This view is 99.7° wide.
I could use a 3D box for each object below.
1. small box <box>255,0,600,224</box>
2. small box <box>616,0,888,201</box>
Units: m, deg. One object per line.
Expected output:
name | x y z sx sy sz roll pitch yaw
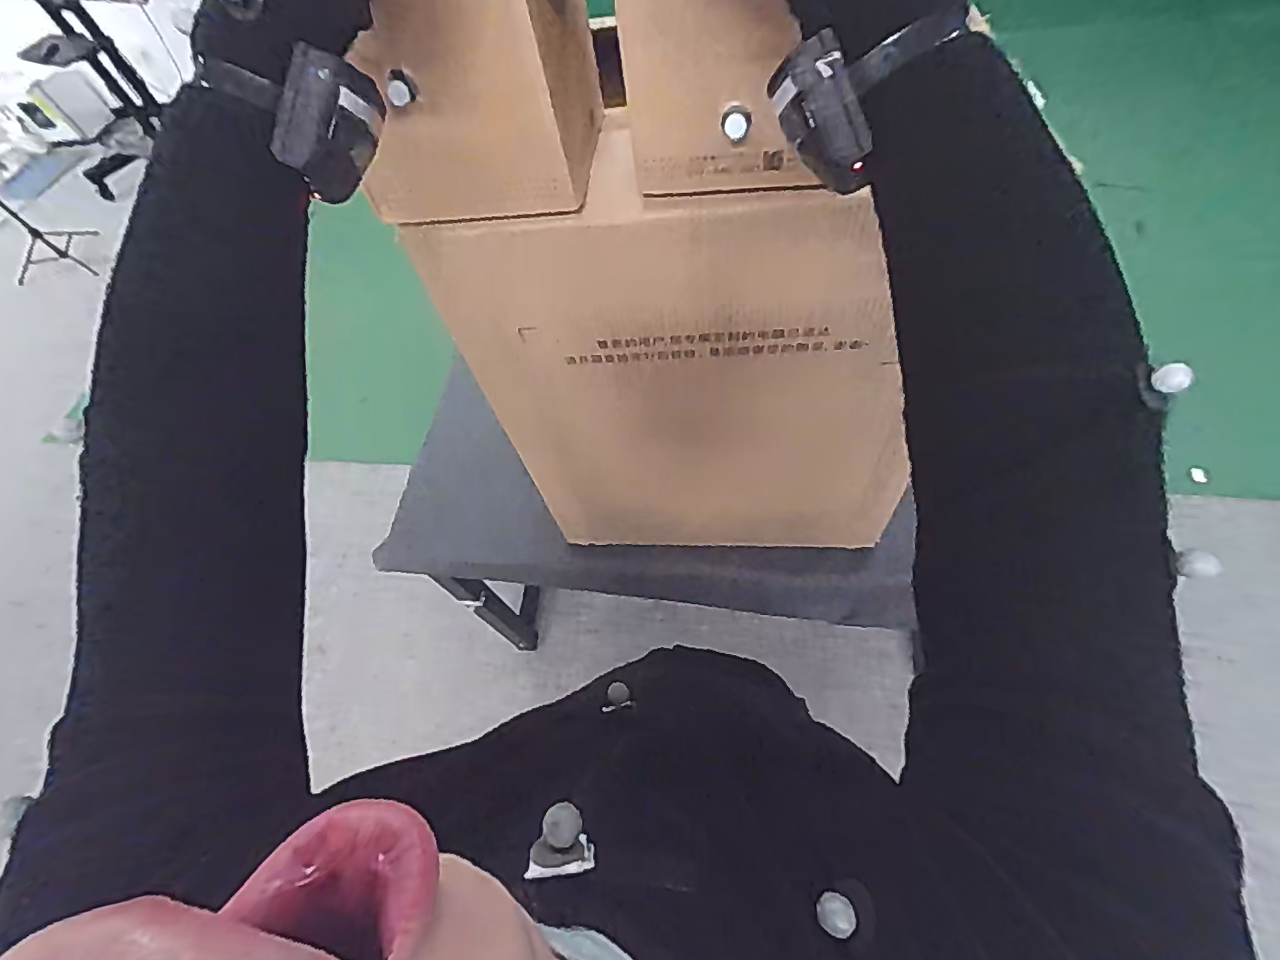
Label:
small box | -0.139 -0.323 0.423 0.179 0.176 0.168 1 60 8
small box | 0.077 -0.334 0.397 0.168 0.176 0.179 3 60 9
